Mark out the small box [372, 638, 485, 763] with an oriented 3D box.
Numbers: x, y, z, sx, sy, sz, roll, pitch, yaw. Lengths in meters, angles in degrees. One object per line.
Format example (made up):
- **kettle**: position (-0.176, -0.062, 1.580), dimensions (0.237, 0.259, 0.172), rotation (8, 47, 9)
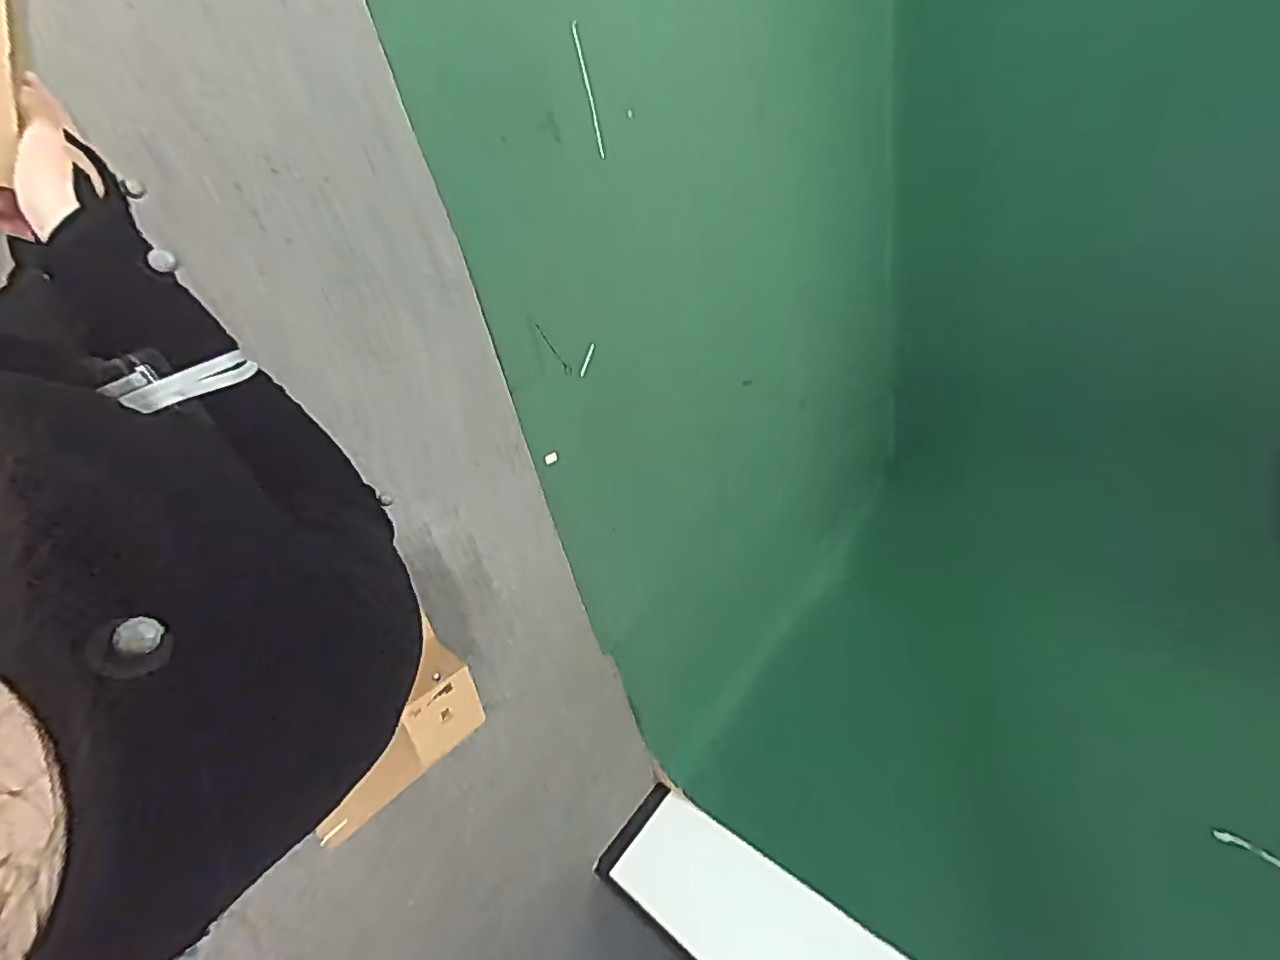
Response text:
- **small box**: position (-0.495, 0.507, 1.269), dimensions (0.168, 0.176, 0.179), rotation (-30, 123, -40)
